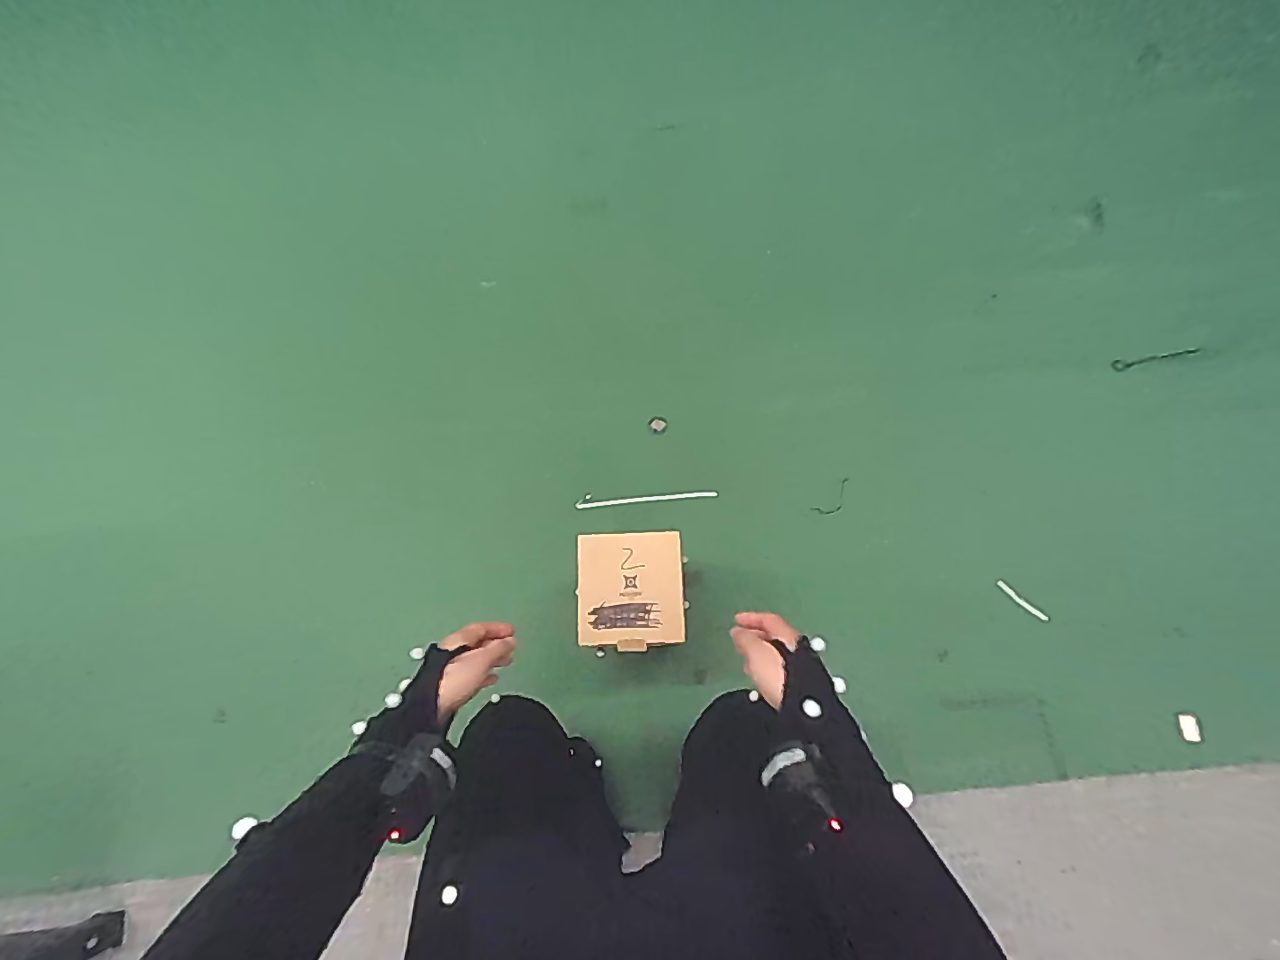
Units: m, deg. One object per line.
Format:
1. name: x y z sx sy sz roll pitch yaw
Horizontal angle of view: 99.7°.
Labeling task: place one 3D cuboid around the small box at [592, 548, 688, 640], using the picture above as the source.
1. small box: -0.001 0.227 1.072 0.179 0.176 0.168 -2 75 1
